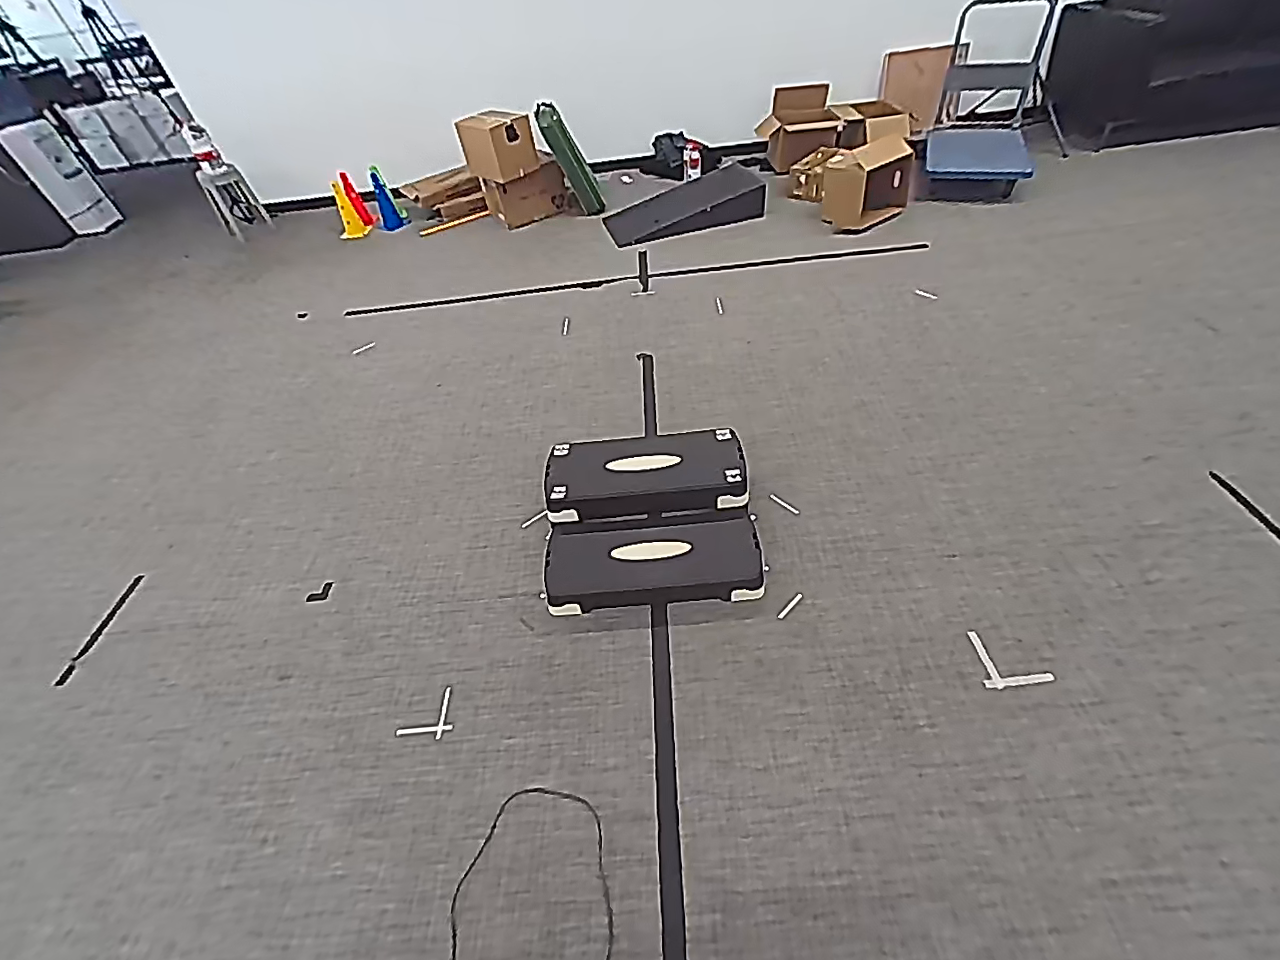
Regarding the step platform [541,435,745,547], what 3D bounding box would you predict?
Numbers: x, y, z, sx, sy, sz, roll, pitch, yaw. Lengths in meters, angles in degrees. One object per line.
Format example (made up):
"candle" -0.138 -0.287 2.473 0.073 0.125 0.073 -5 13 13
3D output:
"step platform" 0.008 0.031 1.843 0.684 0.204 0.286 -5 47 2
